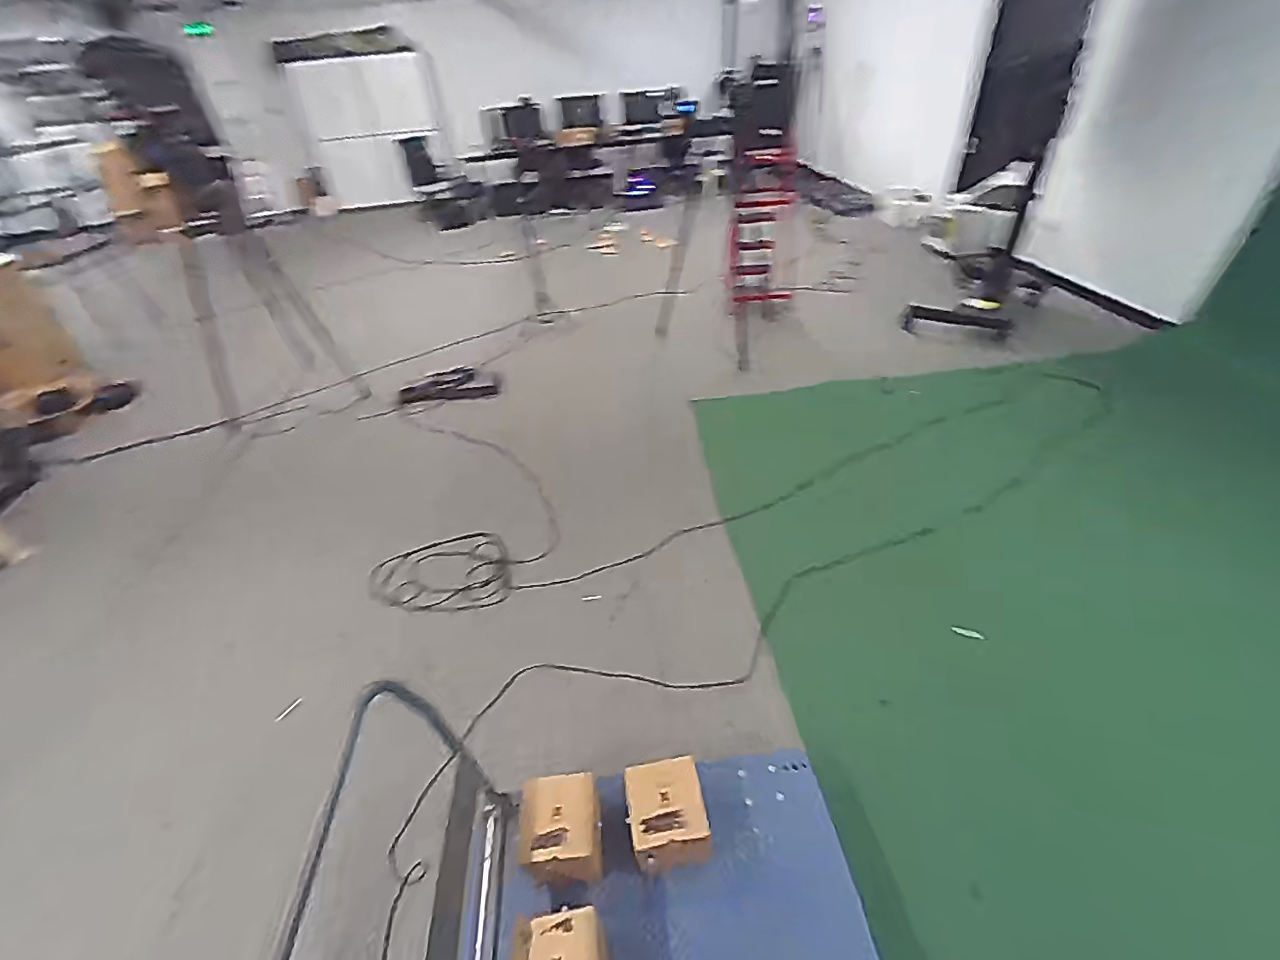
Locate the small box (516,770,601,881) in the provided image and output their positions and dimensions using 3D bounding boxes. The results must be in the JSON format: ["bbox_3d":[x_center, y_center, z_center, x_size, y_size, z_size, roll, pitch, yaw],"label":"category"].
[{"bbox_3d":[-0.183,0.811,1.265,0.168,0.176,0.179,-6,38,-1],"label":"small box"}]

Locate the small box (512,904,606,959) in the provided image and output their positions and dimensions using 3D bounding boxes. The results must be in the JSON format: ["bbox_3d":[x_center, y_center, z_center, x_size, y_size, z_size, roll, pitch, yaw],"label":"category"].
[{"bbox_3d":[-0.152,0.974,1.060,0.168,0.176,0.179,-9,40,-4],"label":"small box"}]
